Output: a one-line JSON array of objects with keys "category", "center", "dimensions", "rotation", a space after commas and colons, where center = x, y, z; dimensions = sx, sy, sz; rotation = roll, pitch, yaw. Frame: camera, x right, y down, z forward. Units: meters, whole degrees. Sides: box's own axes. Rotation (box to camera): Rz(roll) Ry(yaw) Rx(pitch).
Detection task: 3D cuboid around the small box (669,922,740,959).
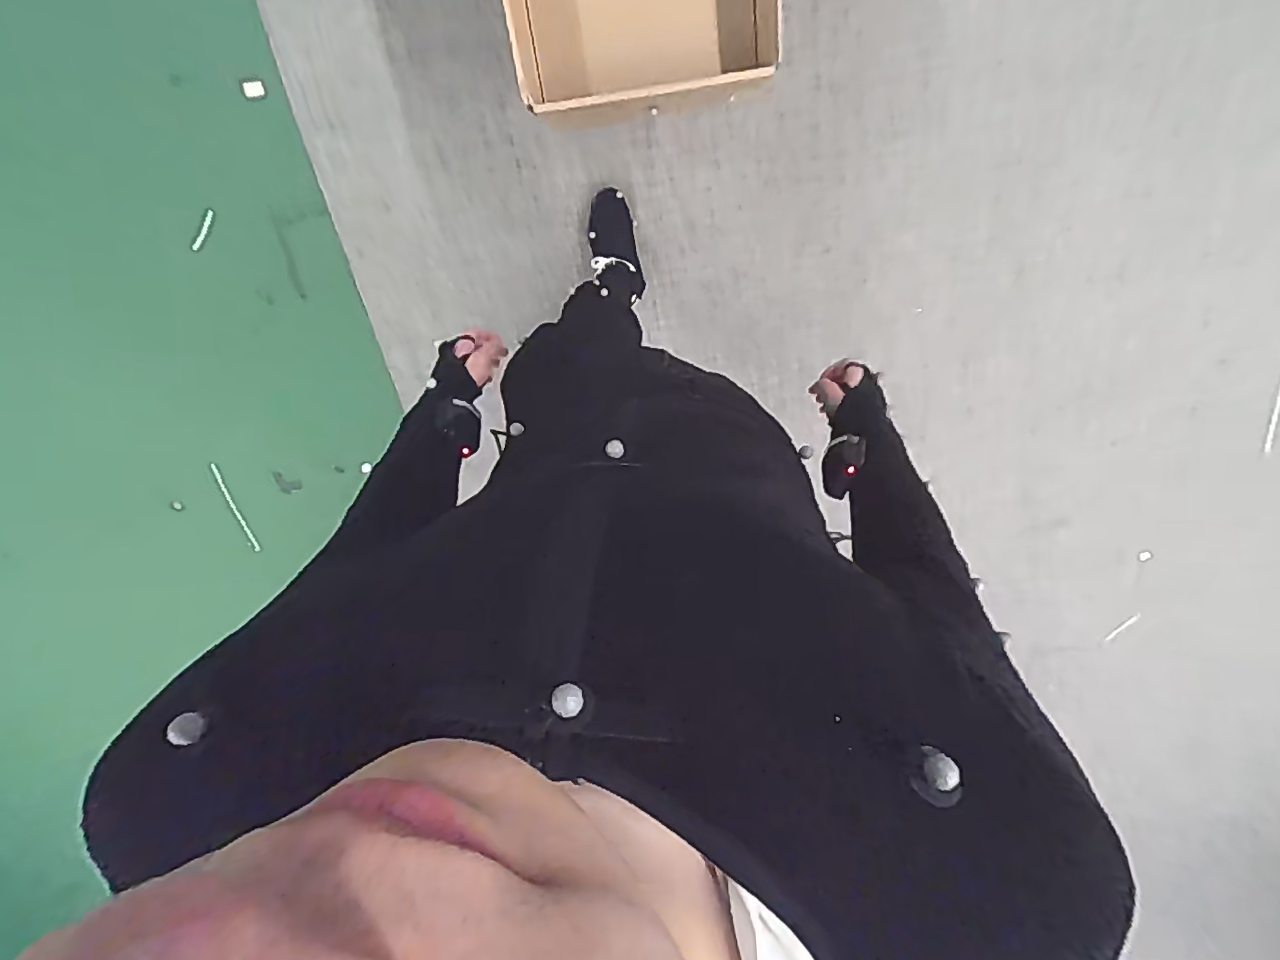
[{"category": "small box", "center": [0.171, 1.267, 1.370], "dimensions": [0.168, 0.176, 0.179], "rotation": [-13, 114, 6]}]
